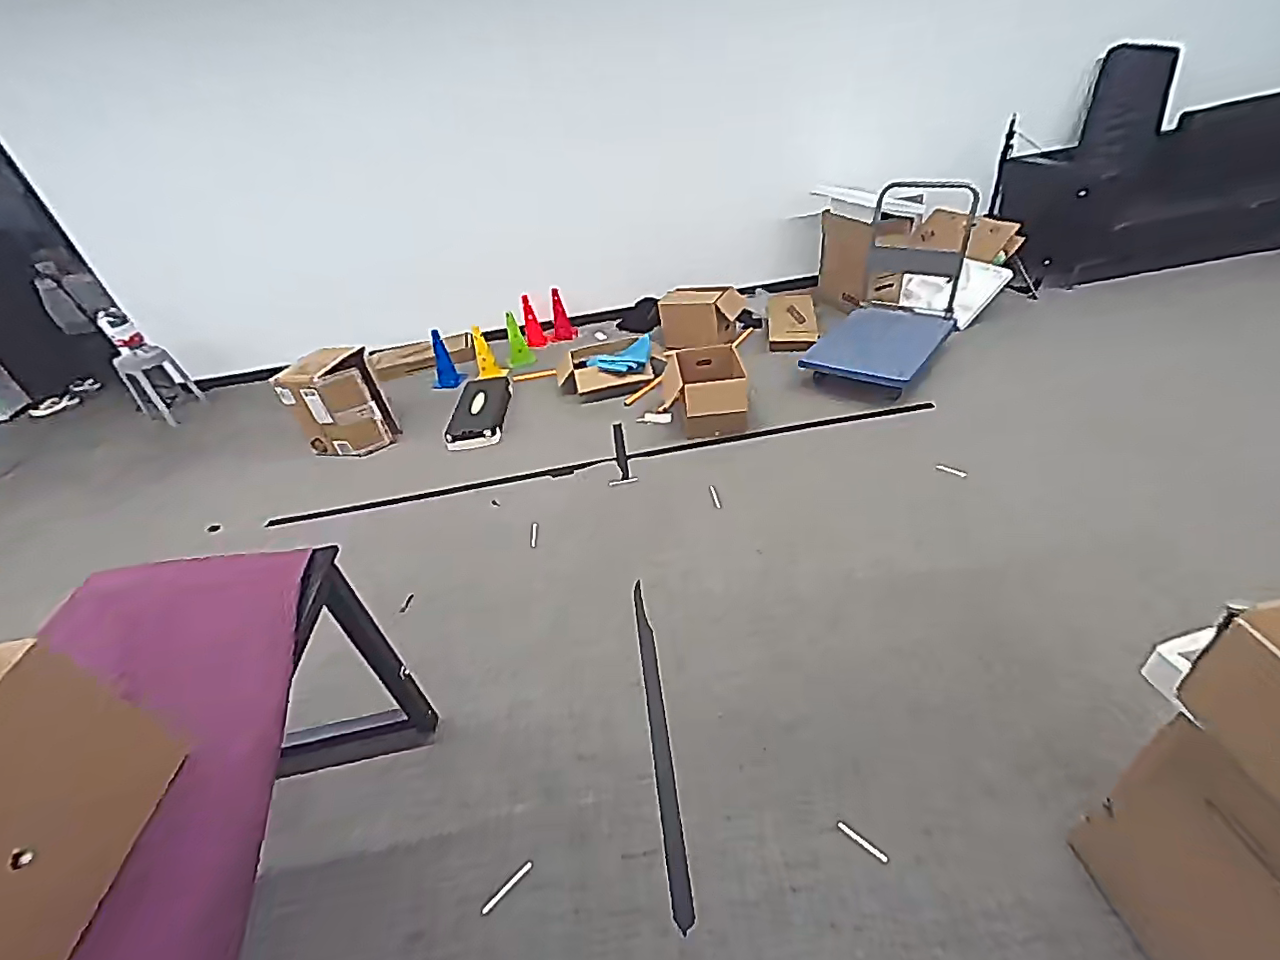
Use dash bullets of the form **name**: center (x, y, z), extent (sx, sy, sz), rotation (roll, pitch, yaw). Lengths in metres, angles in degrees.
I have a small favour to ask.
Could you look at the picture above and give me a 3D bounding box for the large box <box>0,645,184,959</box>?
- **large box**: center (-0.875, 0.472, 0.631), extent (0.320, 0.320, 0.408), rotation (-11, 38, 1)
